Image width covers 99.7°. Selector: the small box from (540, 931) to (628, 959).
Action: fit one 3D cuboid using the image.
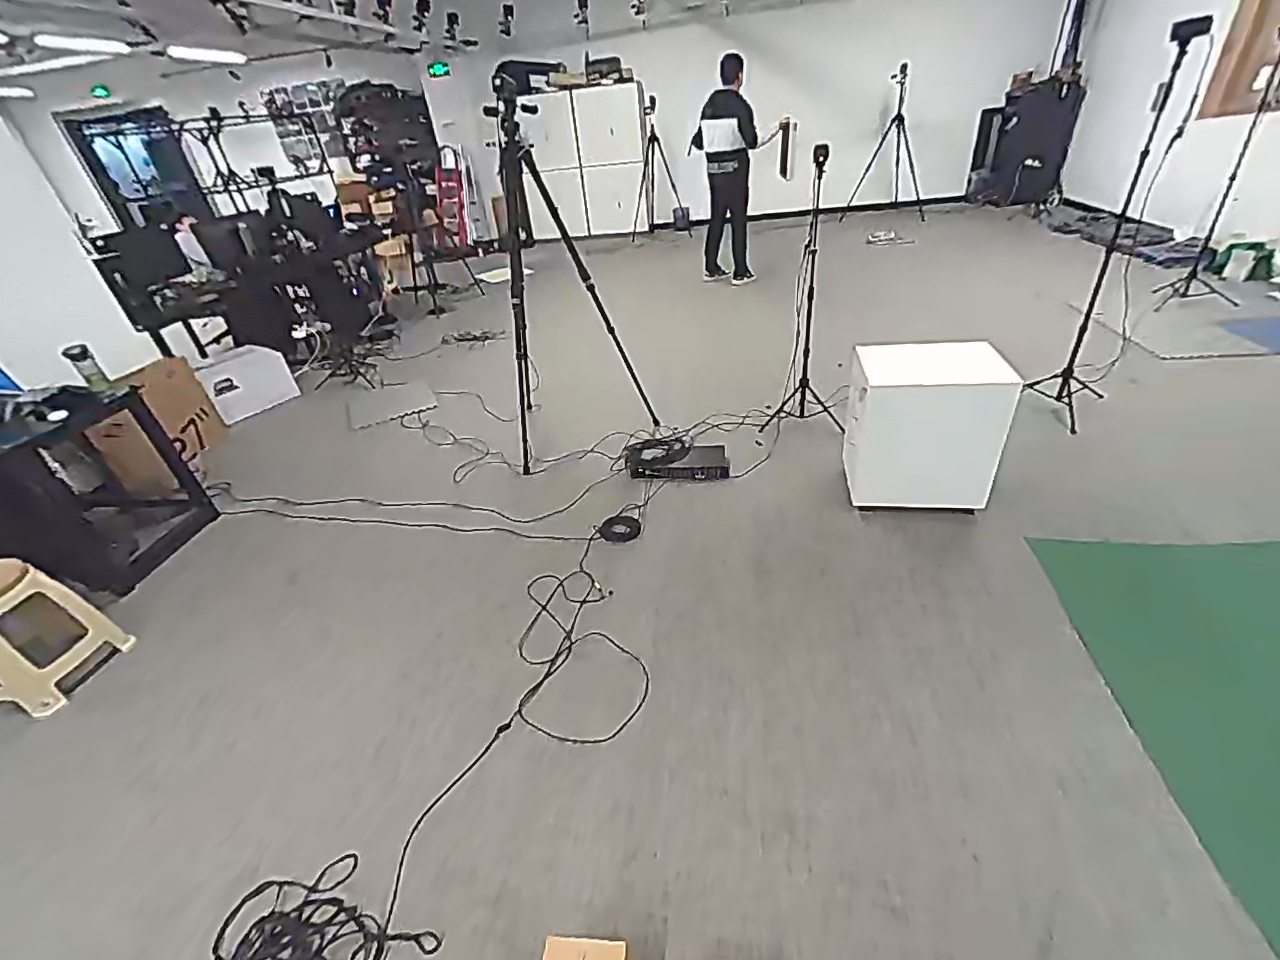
[{"bbox_3d":[-0.111,1.029,1.061,0.168,0.176,0.179,-2,34,8],"label":"small box"}]
